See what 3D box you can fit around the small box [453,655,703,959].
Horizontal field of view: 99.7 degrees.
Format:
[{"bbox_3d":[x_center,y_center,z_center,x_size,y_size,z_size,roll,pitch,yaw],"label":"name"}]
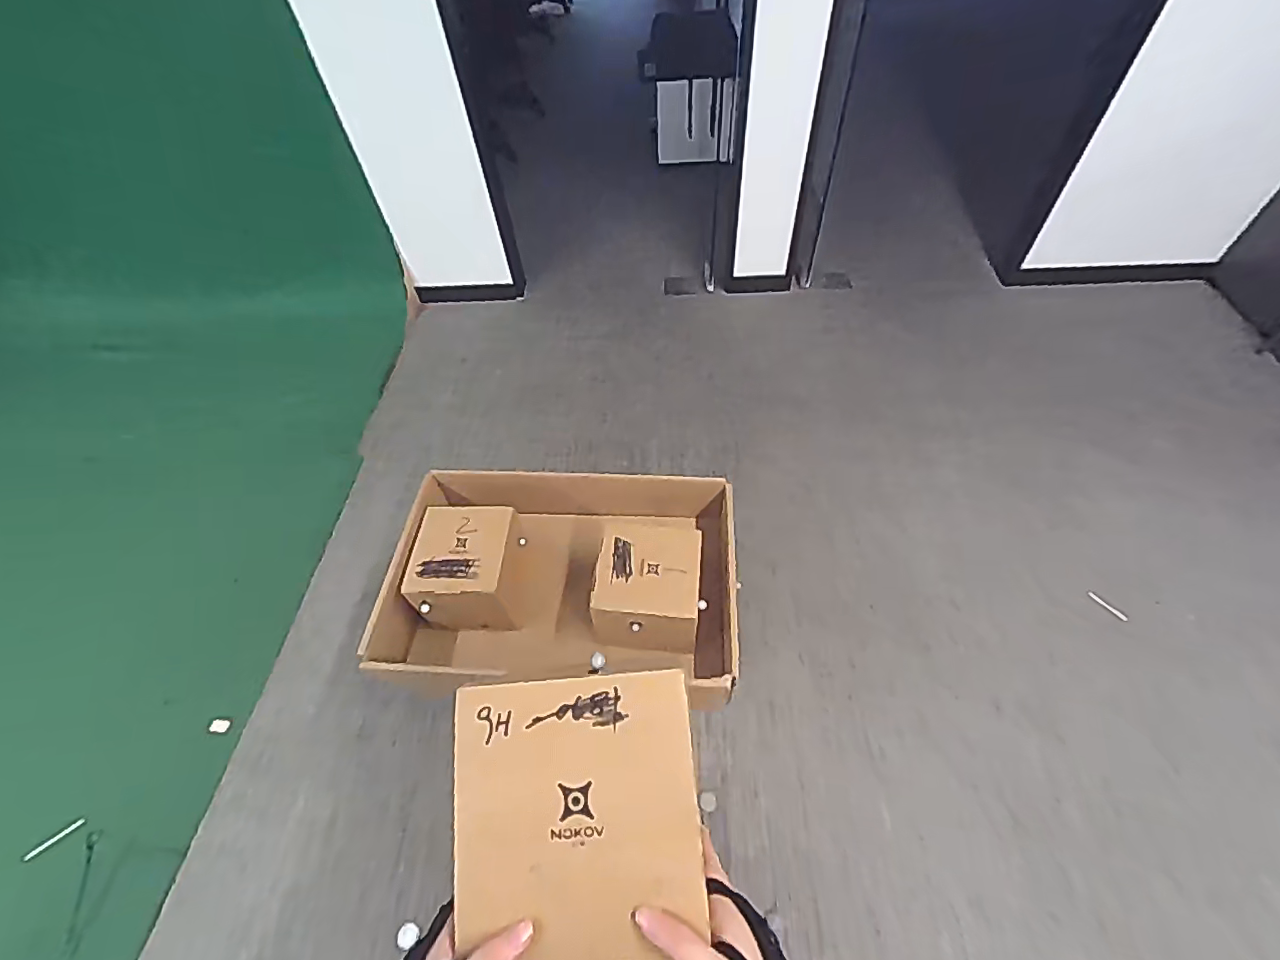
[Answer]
[{"bbox_3d":[-0.039,0.244,0.441,0.168,0.176,0.179,-6,74,3],"label":"small box"}]
